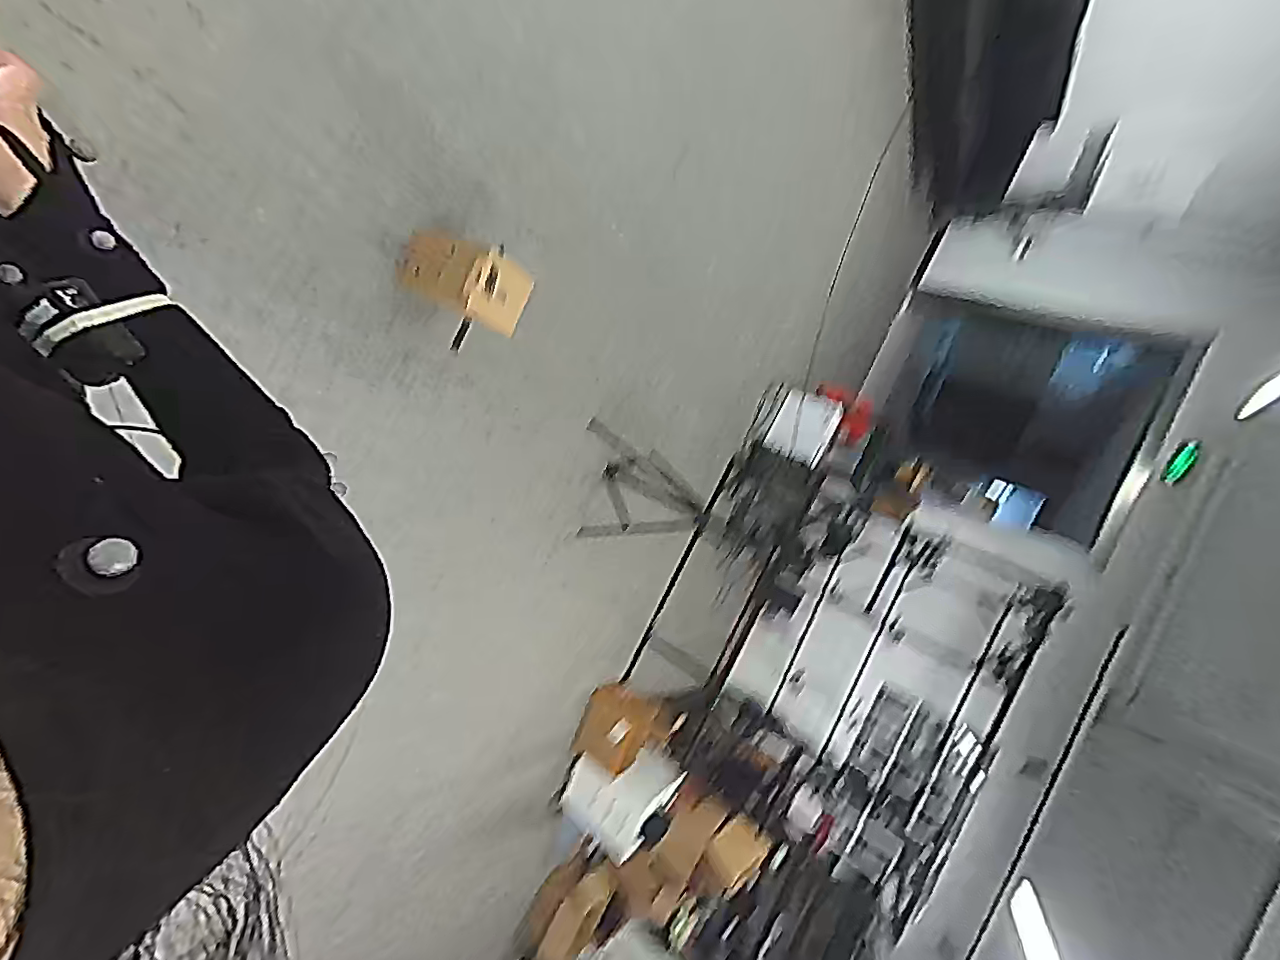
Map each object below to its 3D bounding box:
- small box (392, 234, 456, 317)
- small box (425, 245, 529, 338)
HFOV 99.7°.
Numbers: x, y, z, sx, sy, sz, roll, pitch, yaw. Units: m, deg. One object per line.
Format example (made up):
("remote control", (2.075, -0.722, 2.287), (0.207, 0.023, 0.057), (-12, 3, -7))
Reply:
("small box", (-0.565, -0.574, 1.533), (0.179, 0.176, 0.168), (21, 95, -61))
("small box", (-0.439, -0.507, 1.450), (0.179, 0.176, 0.168), (23, 92, -60))
